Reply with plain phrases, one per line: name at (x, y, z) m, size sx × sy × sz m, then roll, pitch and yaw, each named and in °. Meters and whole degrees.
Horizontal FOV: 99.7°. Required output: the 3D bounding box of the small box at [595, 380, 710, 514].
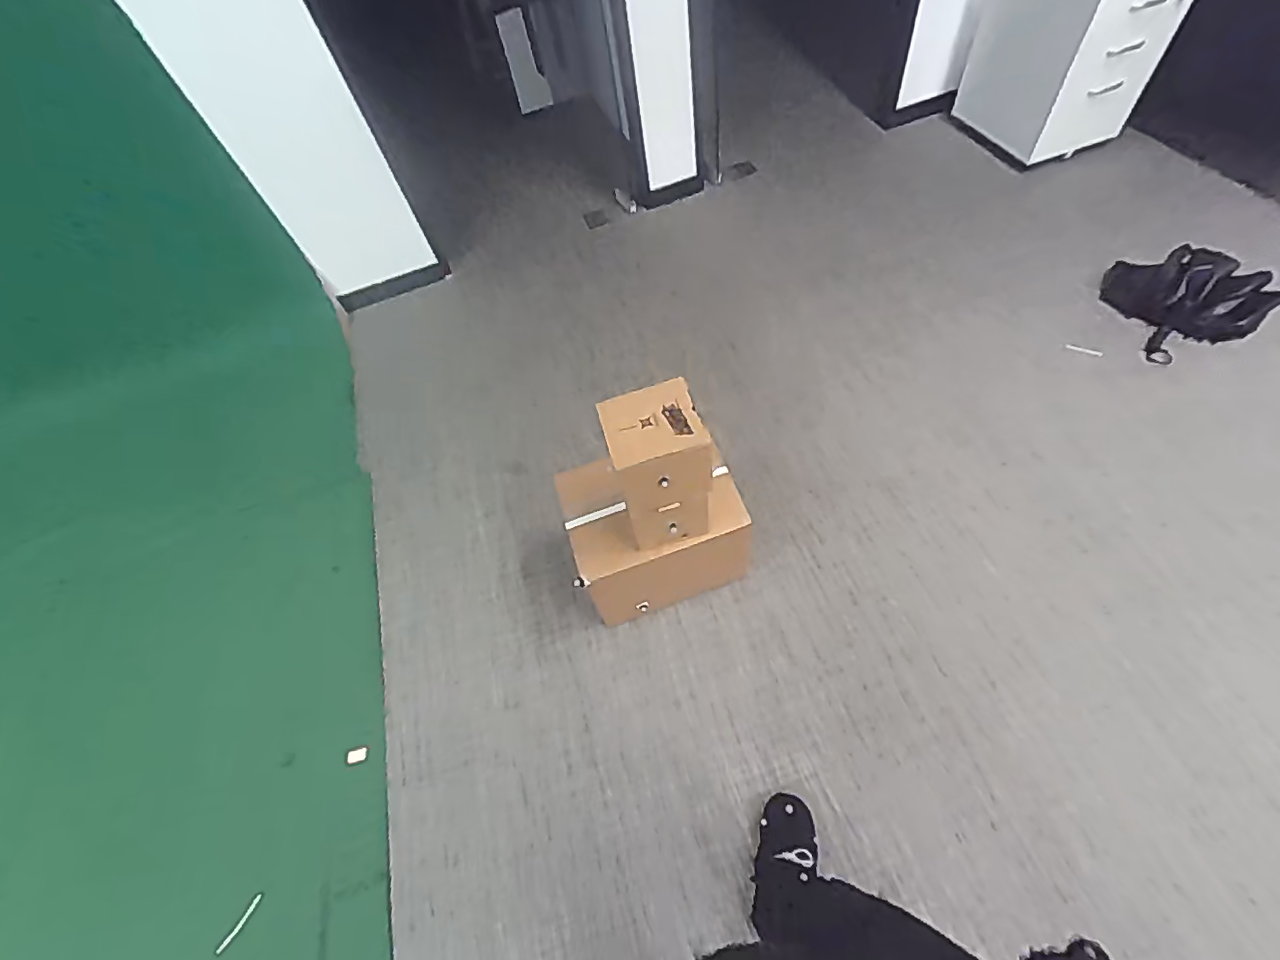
small box at (0.029, -0.059, 1.042) m, size 0.179 × 0.176 × 0.168 m, roll -18°, pitch 57°, yaw 0°

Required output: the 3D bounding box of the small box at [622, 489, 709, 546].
small box at (0.047, 0.027, 1.182) m, size 0.168 × 0.176 × 0.179 m, roll -17°, pitch 58°, yaw -1°
